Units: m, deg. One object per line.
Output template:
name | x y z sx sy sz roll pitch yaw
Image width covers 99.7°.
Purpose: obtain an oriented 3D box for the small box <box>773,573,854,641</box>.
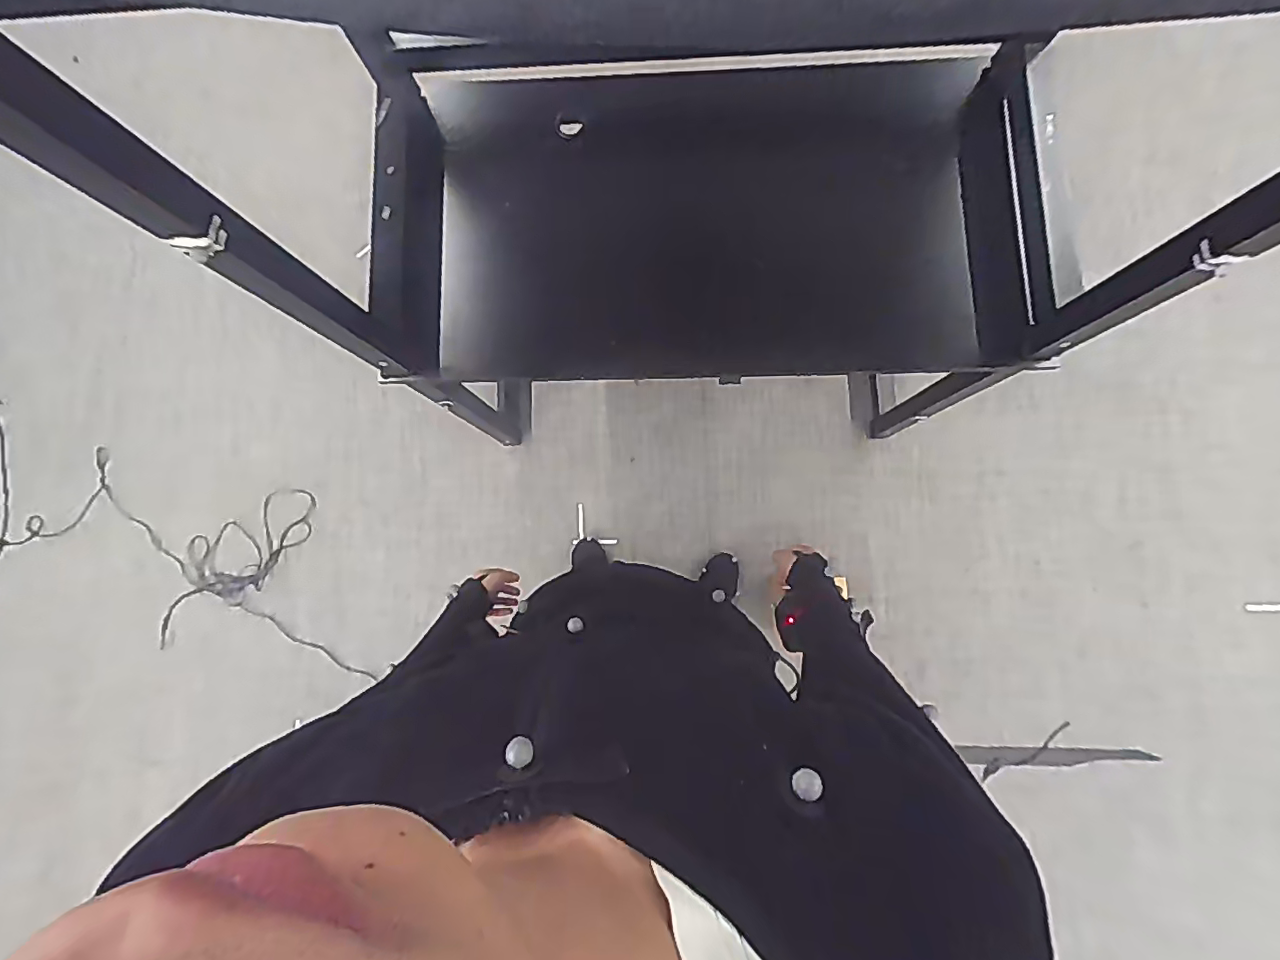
small box | 0.482 0.353 1.522 0.179 0.176 0.168 -3 83 3
